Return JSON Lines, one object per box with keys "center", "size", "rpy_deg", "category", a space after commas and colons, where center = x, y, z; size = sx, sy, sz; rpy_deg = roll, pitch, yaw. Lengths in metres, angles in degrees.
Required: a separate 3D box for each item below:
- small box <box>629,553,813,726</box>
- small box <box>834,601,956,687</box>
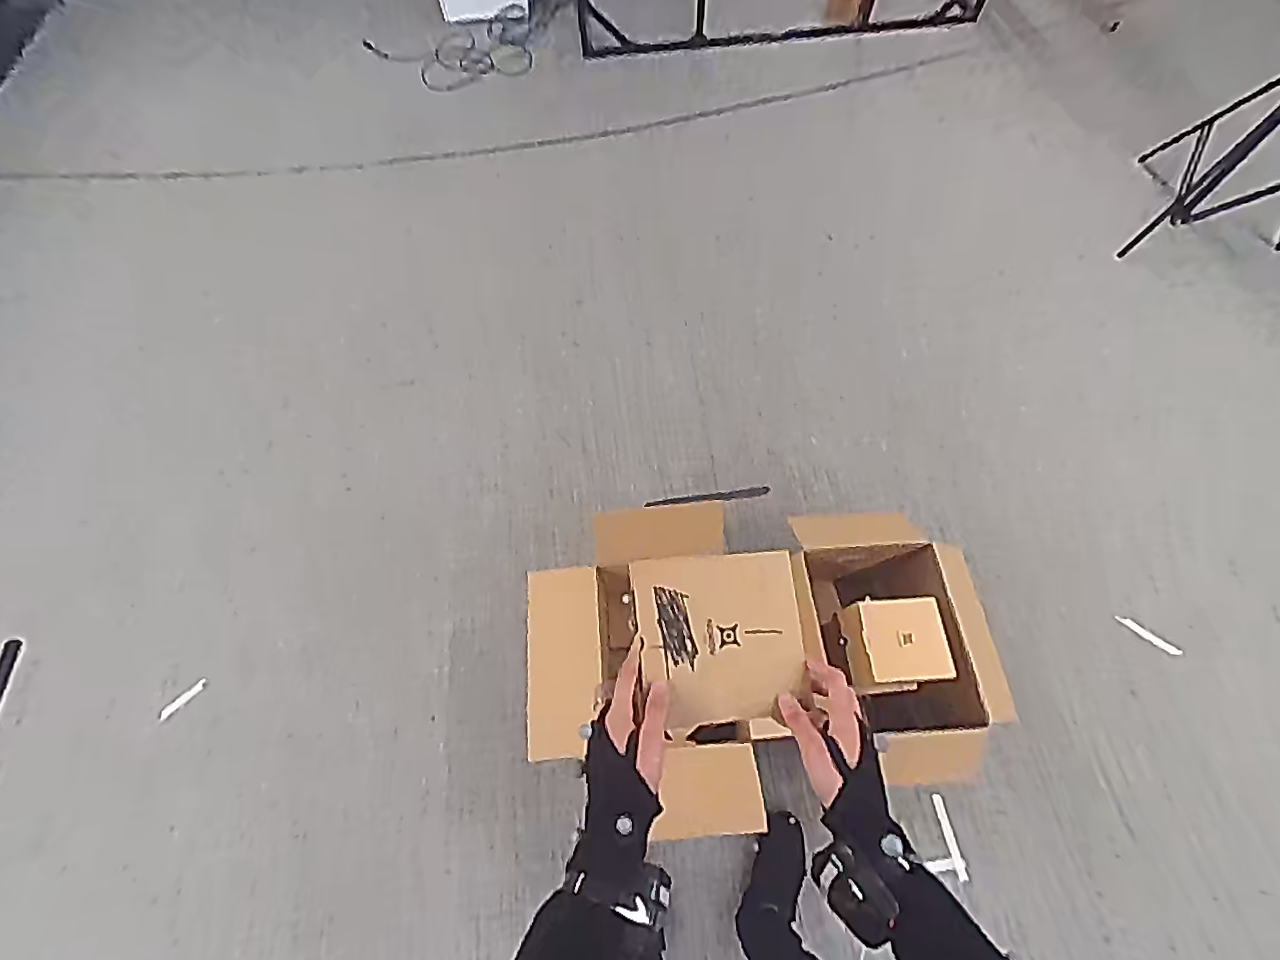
{"center": [0.082, 0.184, 0.635], "size": [0.179, 0.176, 0.168], "rpy_deg": [-4, 75, -2], "category": "small box"}
{"center": [0.561, 0.371, 1.211], "size": [0.179, 0.176, 0.168], "rpy_deg": [-4, 67, -1], "category": "small box"}
